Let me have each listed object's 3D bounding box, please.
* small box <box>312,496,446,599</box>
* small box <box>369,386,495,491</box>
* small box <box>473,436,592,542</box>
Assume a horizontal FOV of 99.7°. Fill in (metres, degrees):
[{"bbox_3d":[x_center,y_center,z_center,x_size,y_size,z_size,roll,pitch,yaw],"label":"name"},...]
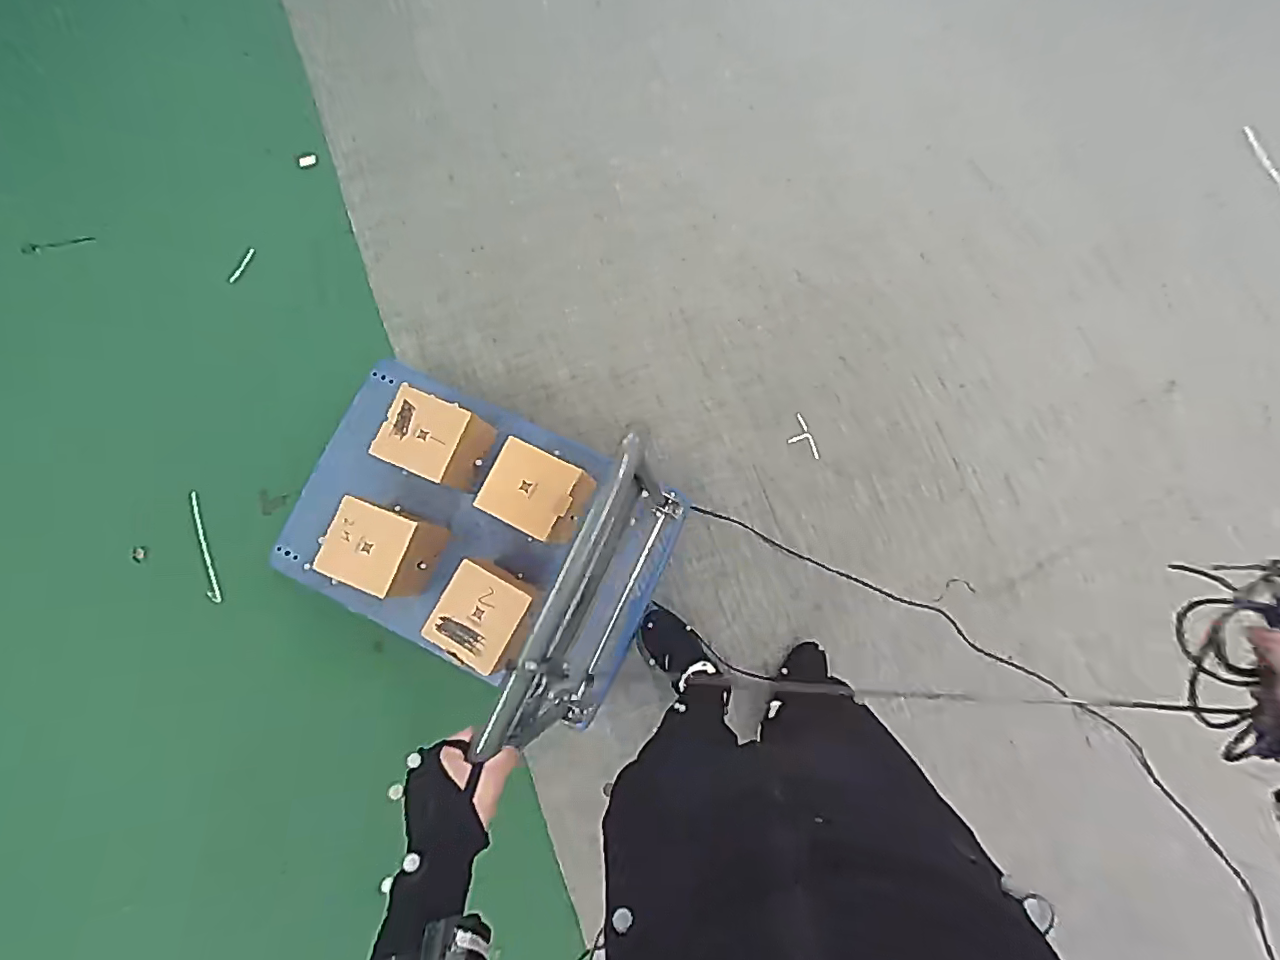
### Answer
[{"bbox_3d":[-0.559,0.149,1.186,0.179,0.176,0.168,20,82,7],"label":"small box"},{"bbox_3d":[-0.458,-0.086,1.218,0.179,0.176,0.168,22,84,7],"label":"small box"},{"bbox_3d":[-0.225,0.029,1.181,0.179,0.176,0.168,25,83,8],"label":"small box"}]
